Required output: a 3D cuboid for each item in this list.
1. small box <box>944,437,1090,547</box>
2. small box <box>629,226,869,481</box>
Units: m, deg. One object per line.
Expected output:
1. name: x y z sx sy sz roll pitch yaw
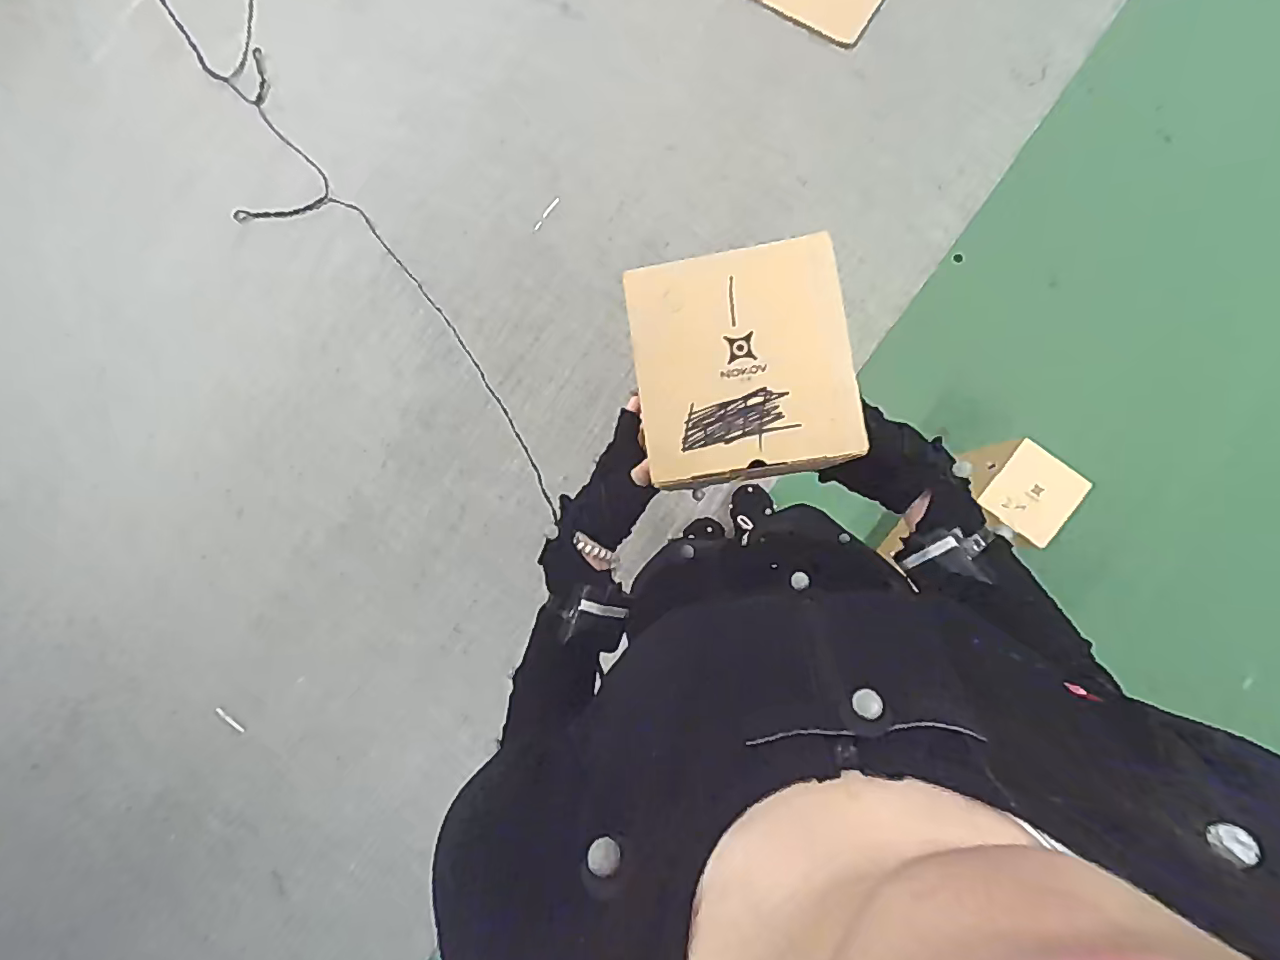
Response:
1. small box: 0.824 0.028 1.204 0.168 0.176 0.179 38 90 5
2. small box: 0.092 -0.094 0.496 0.168 0.176 0.179 -8 86 6
